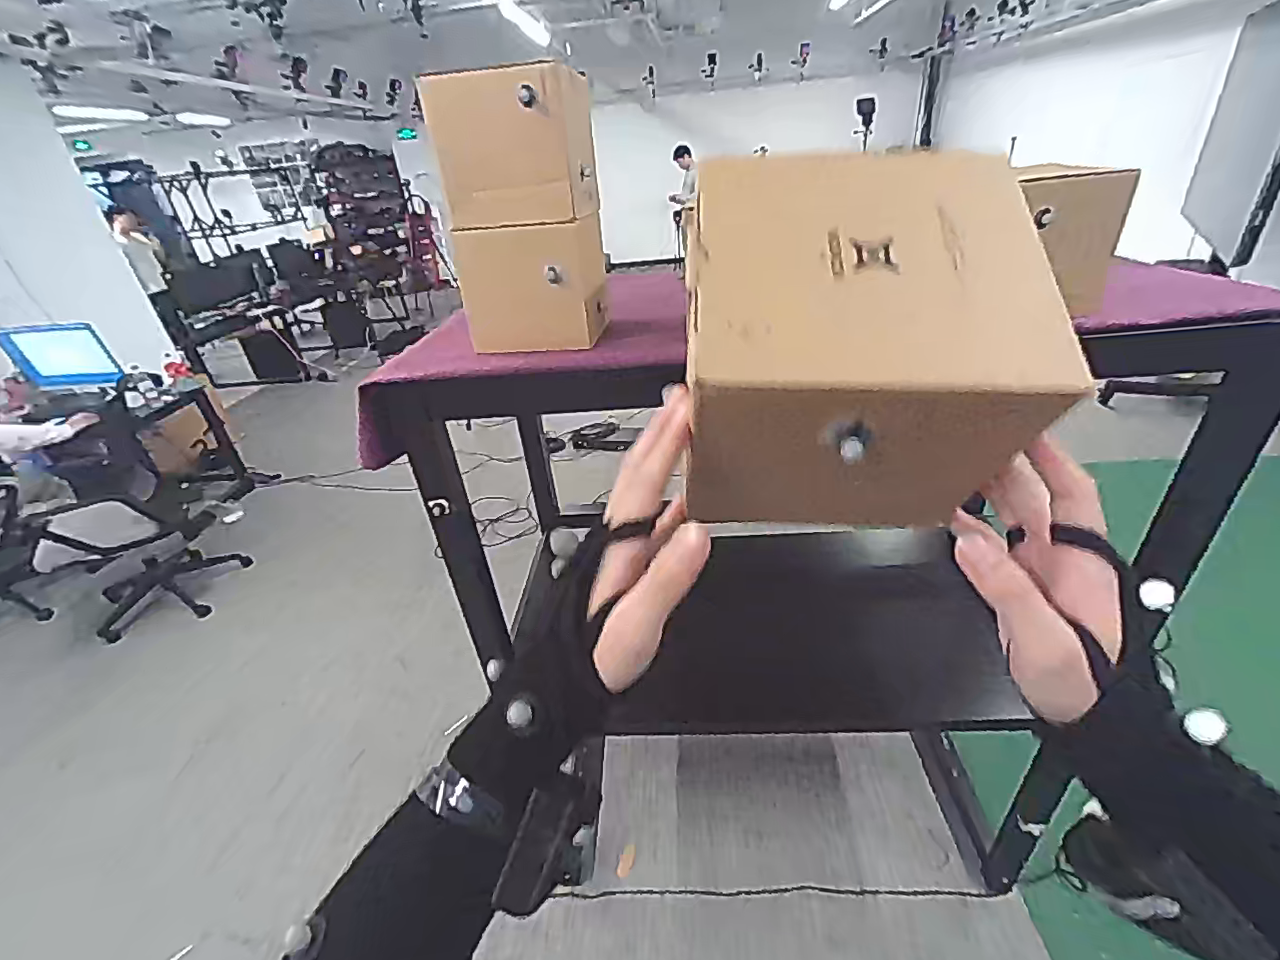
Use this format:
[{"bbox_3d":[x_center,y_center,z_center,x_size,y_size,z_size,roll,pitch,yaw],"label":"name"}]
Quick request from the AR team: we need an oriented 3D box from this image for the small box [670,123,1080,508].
[{"bbox_3d":[0.113,-0.090,0.342,0.179,0.176,0.168,3,64,6],"label":"small box"}]

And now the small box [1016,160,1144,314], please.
[{"bbox_3d":[0.488,-0.316,0.714,0.179,0.176,0.168,-3,32,6],"label":"small box"}]

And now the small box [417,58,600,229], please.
[{"bbox_3d":[-0.160,-0.438,0.725,0.179,0.176,0.168,1,30,9],"label":"small box"}]
